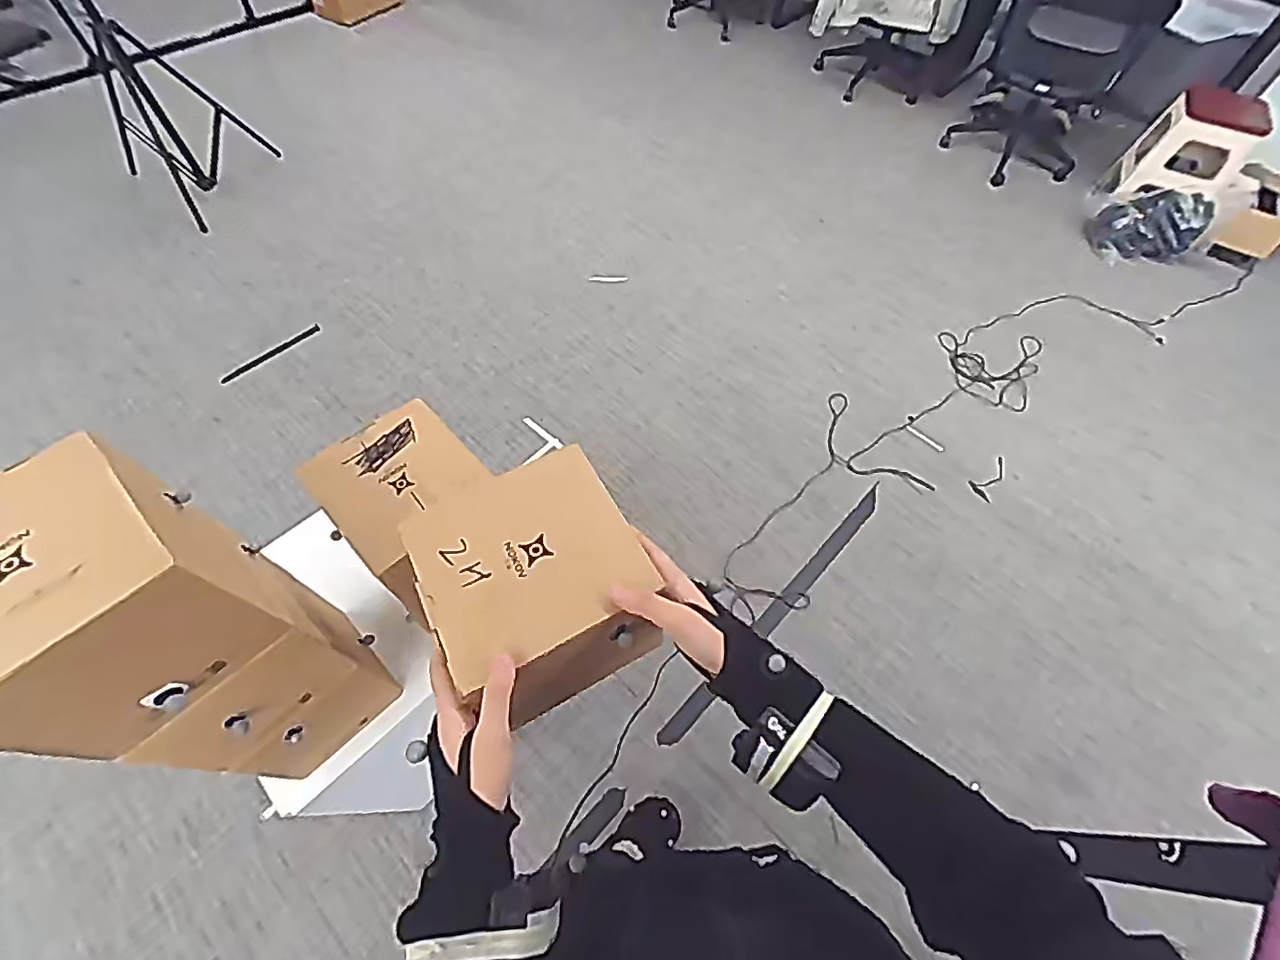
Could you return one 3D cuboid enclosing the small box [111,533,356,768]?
[{"bbox_3d":[-0.454,0.186,0.593,0.179,0.176,0.168,39,65,20],"label":"small box"}]

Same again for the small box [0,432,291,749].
[{"bbox_3d":[-0.448,0.100,0.455,0.179,0.176,0.168,39,66,19],"label":"small box"}]

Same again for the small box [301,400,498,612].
[{"bbox_3d":[-0.275,0.040,0.685,0.168,0.176,0.179,-39,69,-22],"label":"small box"}]

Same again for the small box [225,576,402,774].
[{"bbox_3d":[-0.461,0.270,0.733,0.179,0.176,0.168,40,65,21],"label":"small box"}]

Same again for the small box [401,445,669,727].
[{"bbox_3d":[-0.089,0.104,0.509,0.179,0.176,0.168,-26,60,-14],"label":"small box"}]
